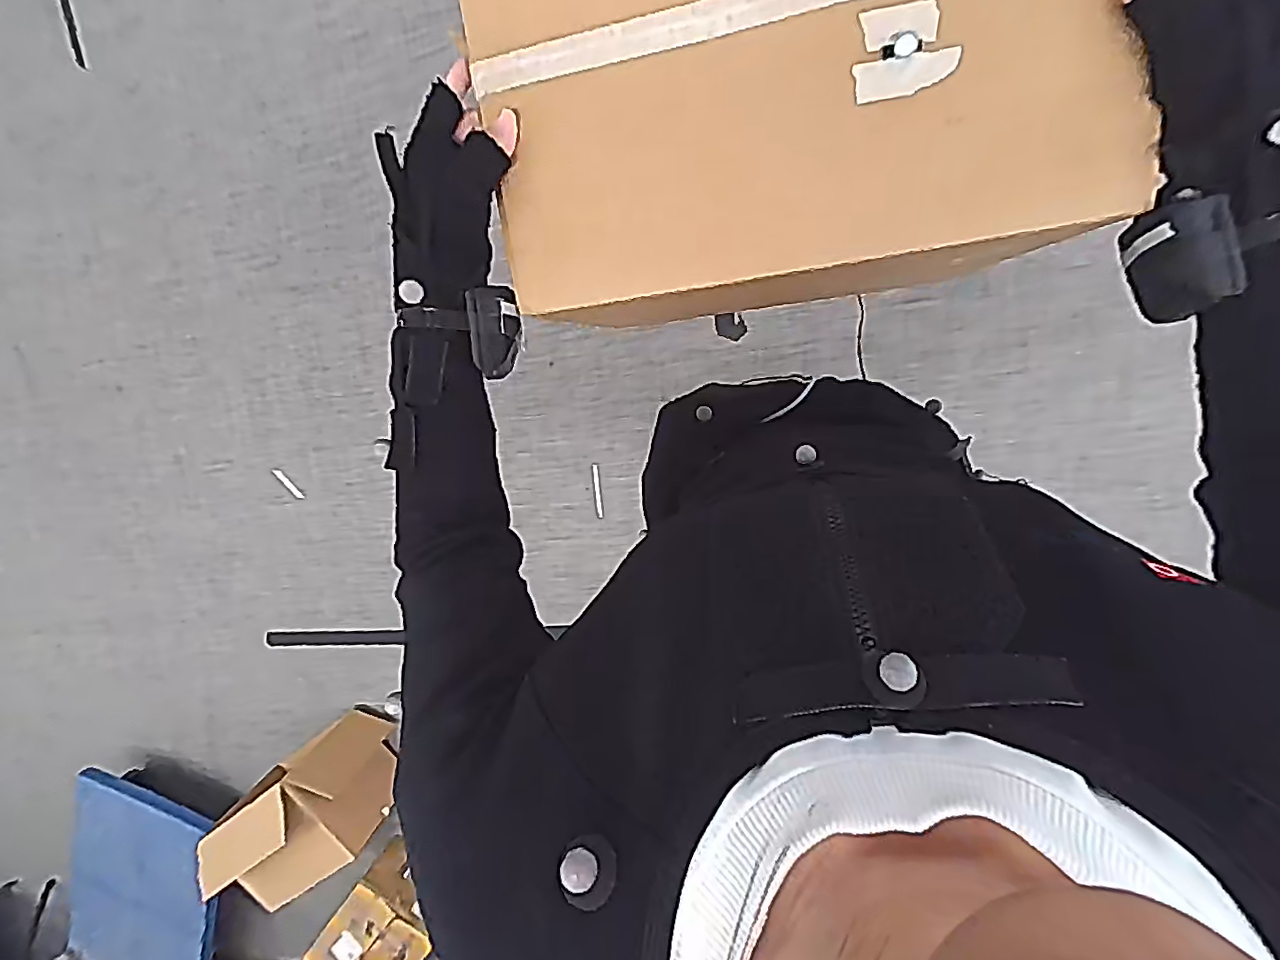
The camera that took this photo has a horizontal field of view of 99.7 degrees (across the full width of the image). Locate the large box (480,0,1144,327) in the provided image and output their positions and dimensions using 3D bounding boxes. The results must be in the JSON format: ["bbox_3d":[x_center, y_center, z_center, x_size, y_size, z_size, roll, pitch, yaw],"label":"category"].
[{"bbox_3d":[0.113,-0.333,0.484,0.408,0.320,0.320,-6,103,11],"label":"large box"}]
